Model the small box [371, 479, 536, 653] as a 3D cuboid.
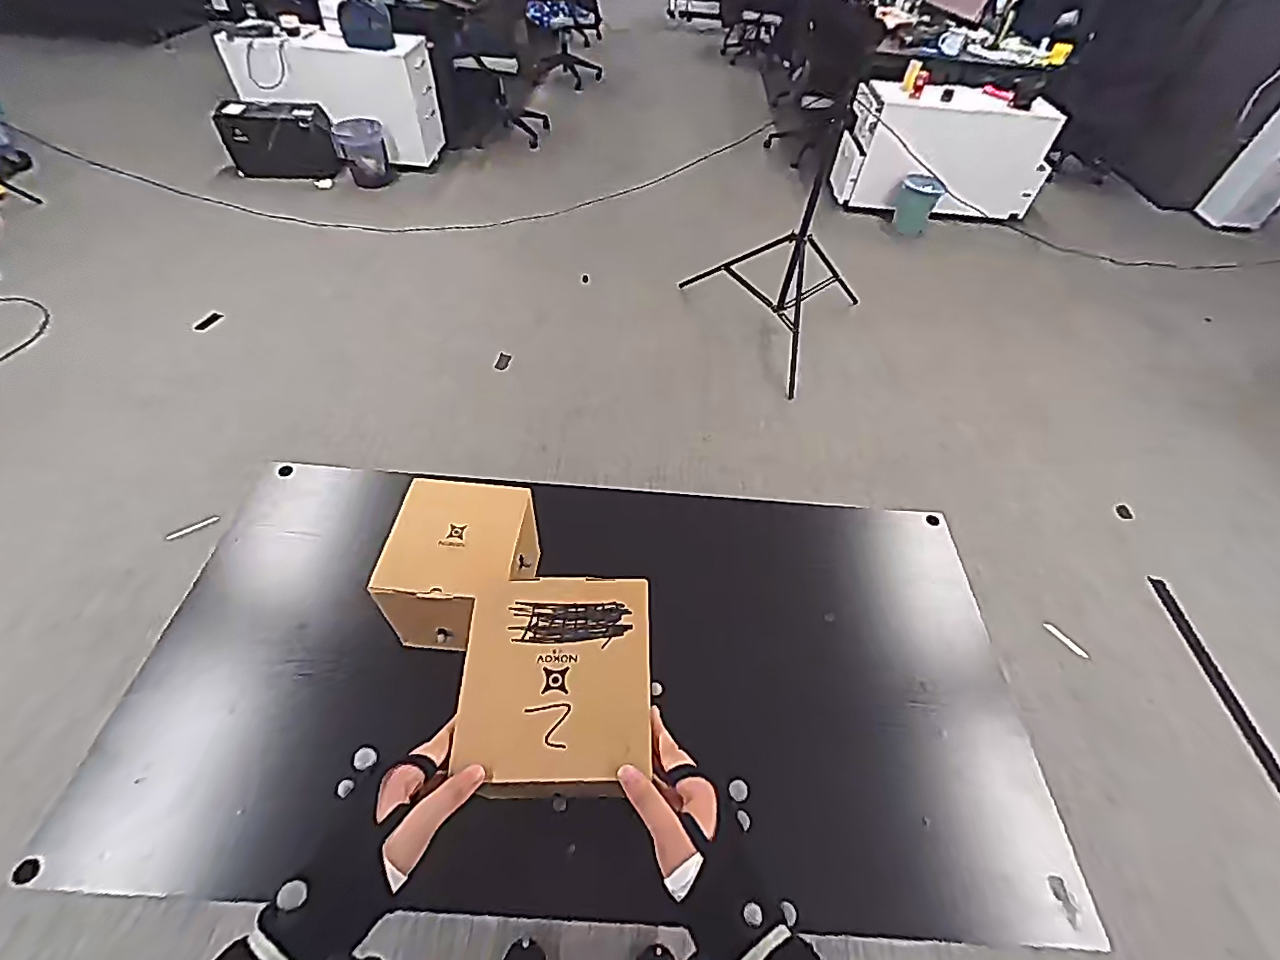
[{"bbox_3d":[-0.246,0.123,0.765,0.168,0.176,0.179,5,51,-1],"label":"small box"}]
